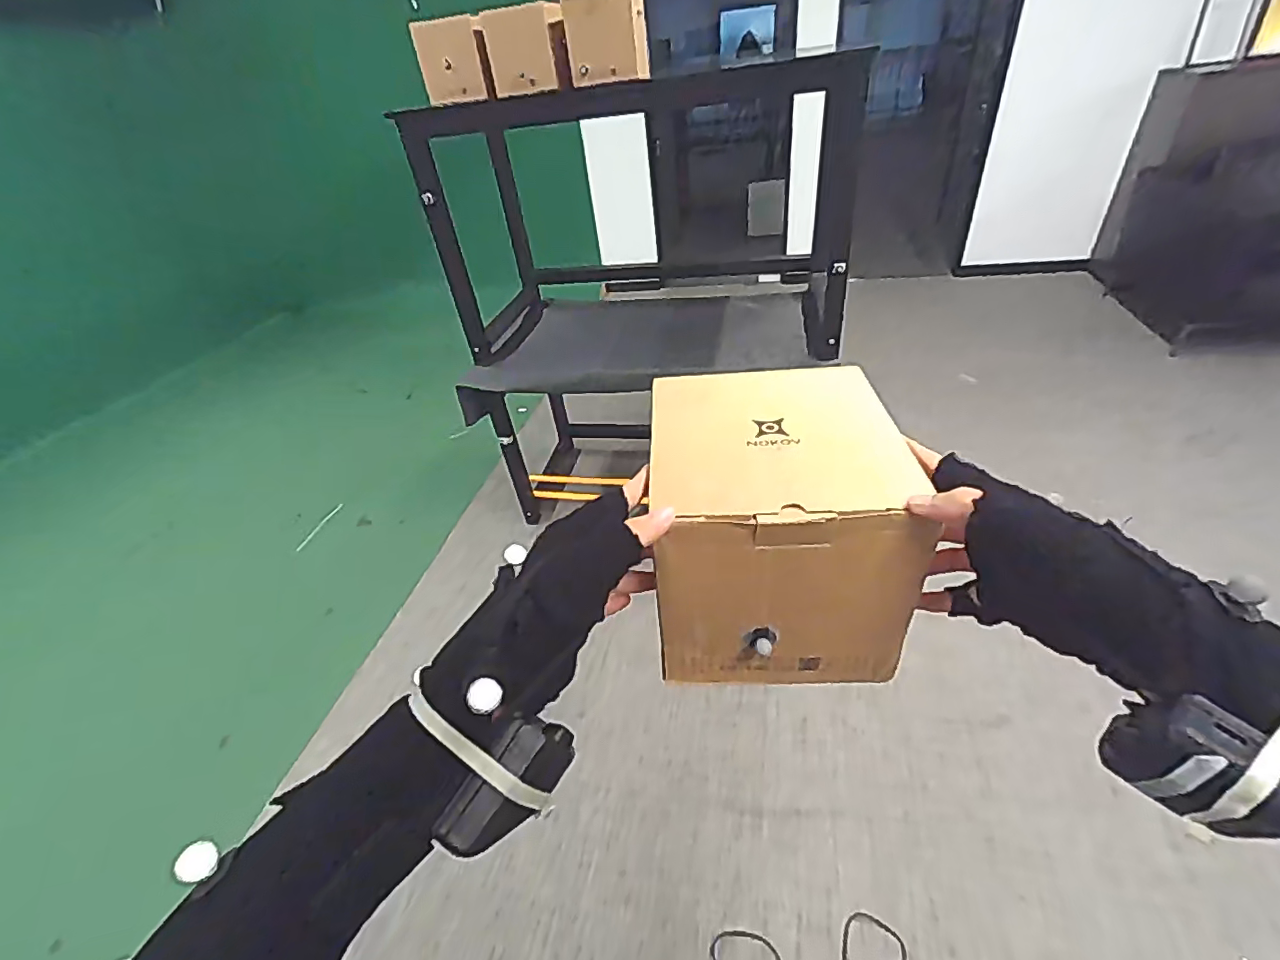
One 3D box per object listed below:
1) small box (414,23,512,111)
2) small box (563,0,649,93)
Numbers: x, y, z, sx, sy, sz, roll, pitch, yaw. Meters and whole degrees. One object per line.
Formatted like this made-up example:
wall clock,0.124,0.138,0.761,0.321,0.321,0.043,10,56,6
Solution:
small box,-0.457,-1.089,1.432,0.168,0.176,0.179,3,39,12
small box,-0.074,-1.063,1.328,0.168,0.176,0.179,1,38,11
